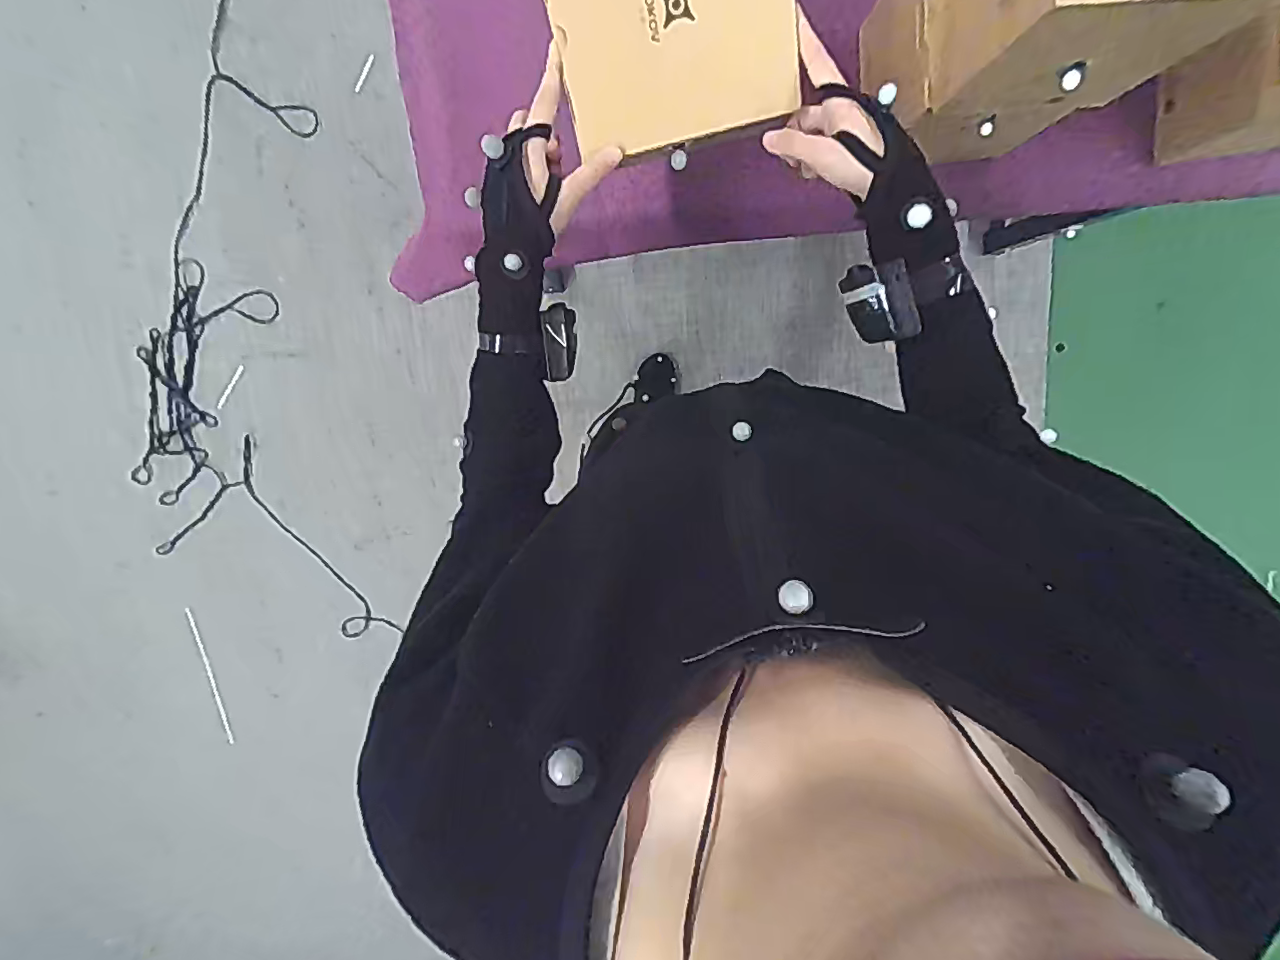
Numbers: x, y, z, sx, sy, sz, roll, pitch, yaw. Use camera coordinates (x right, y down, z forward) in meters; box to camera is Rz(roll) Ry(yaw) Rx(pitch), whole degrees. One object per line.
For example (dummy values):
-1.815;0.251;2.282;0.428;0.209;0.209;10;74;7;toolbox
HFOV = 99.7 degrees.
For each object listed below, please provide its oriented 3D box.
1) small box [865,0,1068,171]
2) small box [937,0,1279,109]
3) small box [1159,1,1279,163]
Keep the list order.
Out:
0.362;-0.463;0.596;0.179;0.176;0.168;-5;100;2;small box
0.364;-0.428;0.436;0.168;0.176;0.179;-2;101;2;small box
0.721;-0.468;0.583;0.179;0.176;0.168;-7;102;3;small box
